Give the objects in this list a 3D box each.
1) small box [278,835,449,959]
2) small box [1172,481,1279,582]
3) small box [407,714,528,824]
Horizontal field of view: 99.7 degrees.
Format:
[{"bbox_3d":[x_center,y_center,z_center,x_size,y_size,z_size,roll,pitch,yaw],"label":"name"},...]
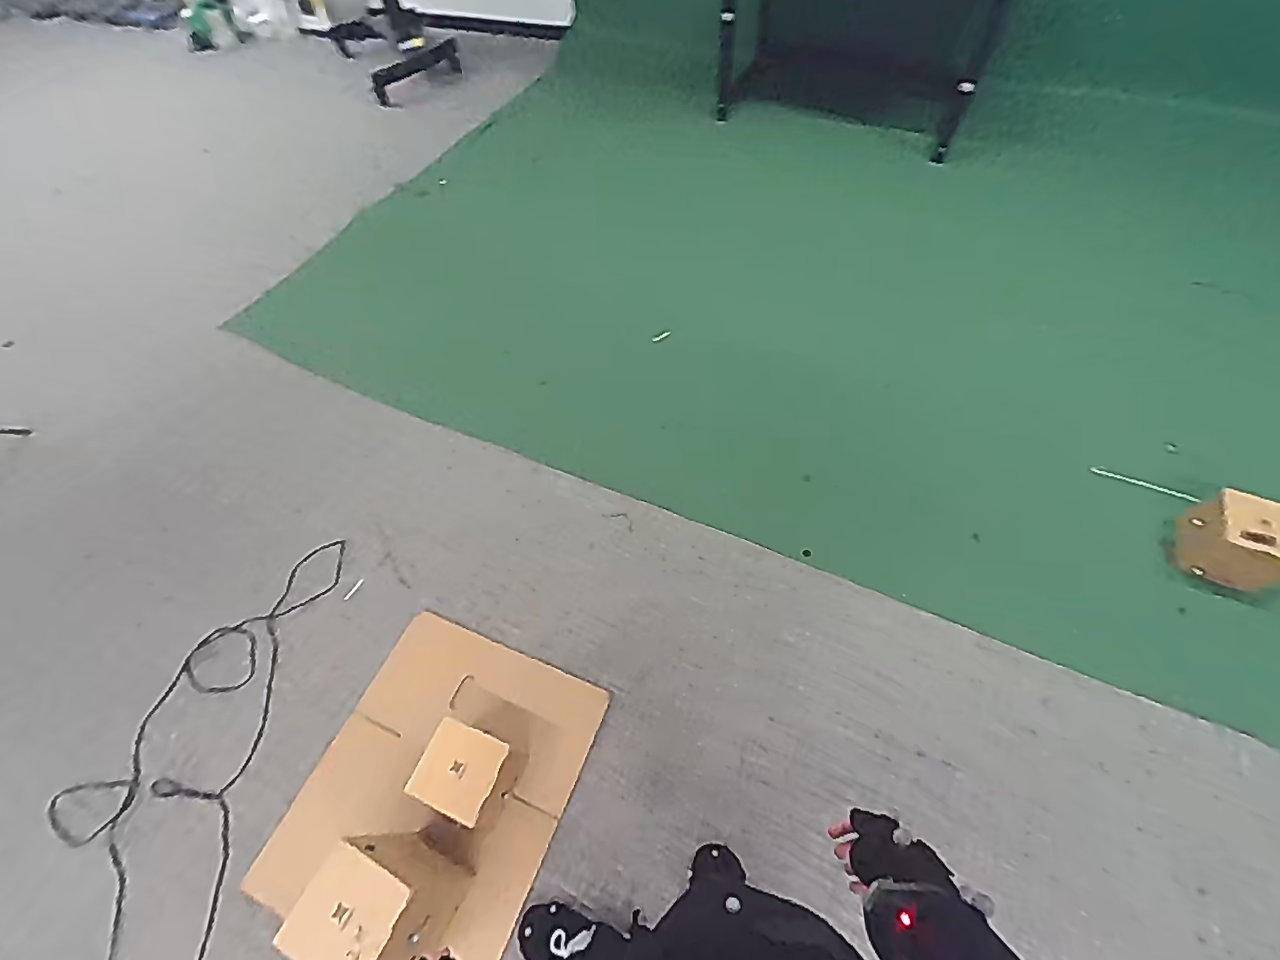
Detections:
[{"bbox_3d":[-0.483,0.770,0.971,0.179,0.176,0.168,21,63,17],"label":"small box"},{"bbox_3d":[1.540,0.140,1.405,0.168,0.176,0.179,22,61,17],"label":"small box"},{"bbox_3d":[-0.382,0.662,1.230,0.179,0.176,0.168,17,60,14],"label":"small box"}]
